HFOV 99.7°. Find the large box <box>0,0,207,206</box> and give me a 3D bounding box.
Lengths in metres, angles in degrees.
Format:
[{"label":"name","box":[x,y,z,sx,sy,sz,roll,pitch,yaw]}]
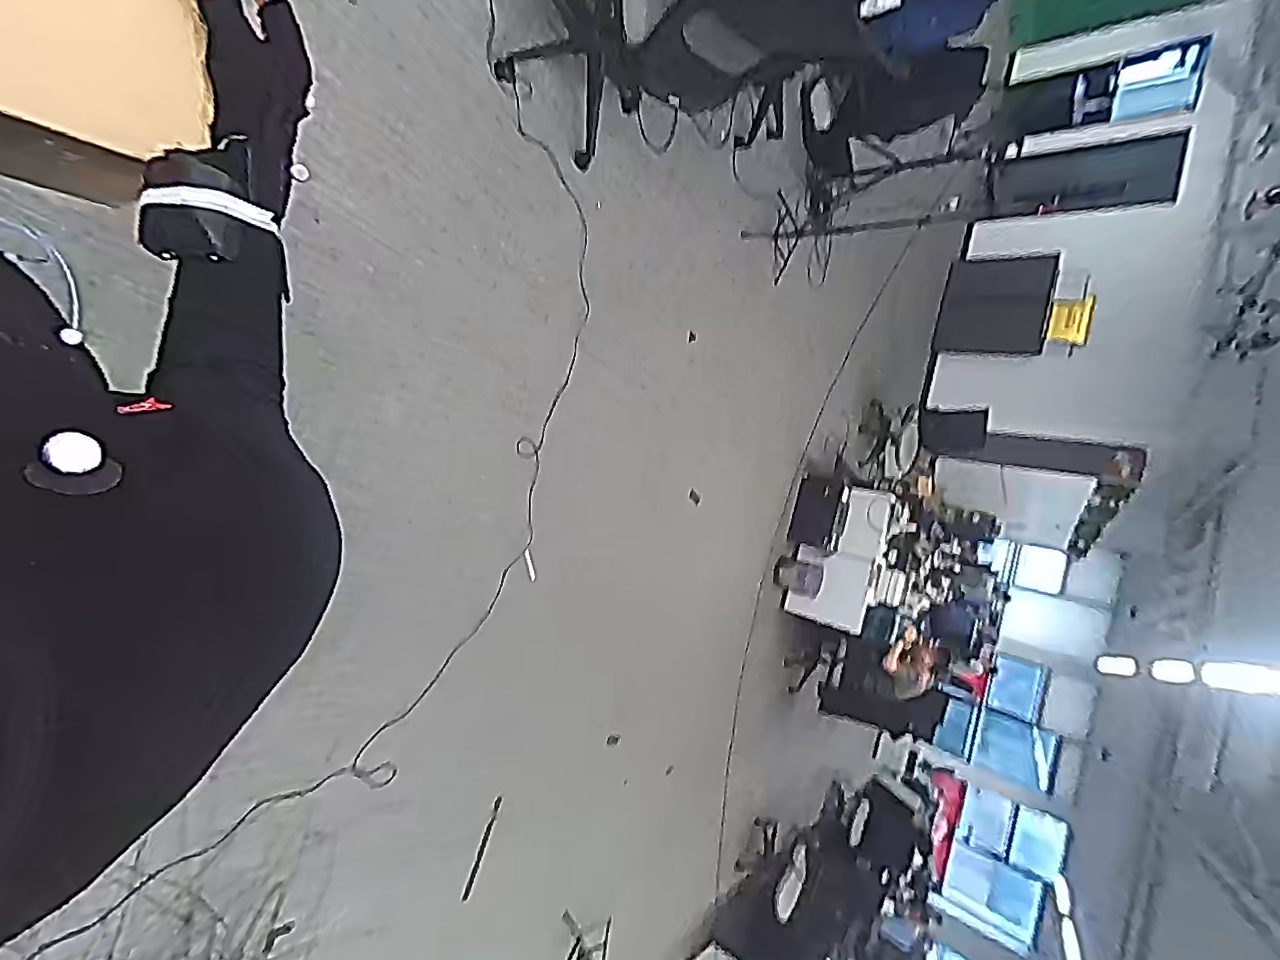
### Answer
[{"label":"large box","box":[-0.549,-0.399,0.316,0.408,0.320,0.320,-3,106,-54]}]
